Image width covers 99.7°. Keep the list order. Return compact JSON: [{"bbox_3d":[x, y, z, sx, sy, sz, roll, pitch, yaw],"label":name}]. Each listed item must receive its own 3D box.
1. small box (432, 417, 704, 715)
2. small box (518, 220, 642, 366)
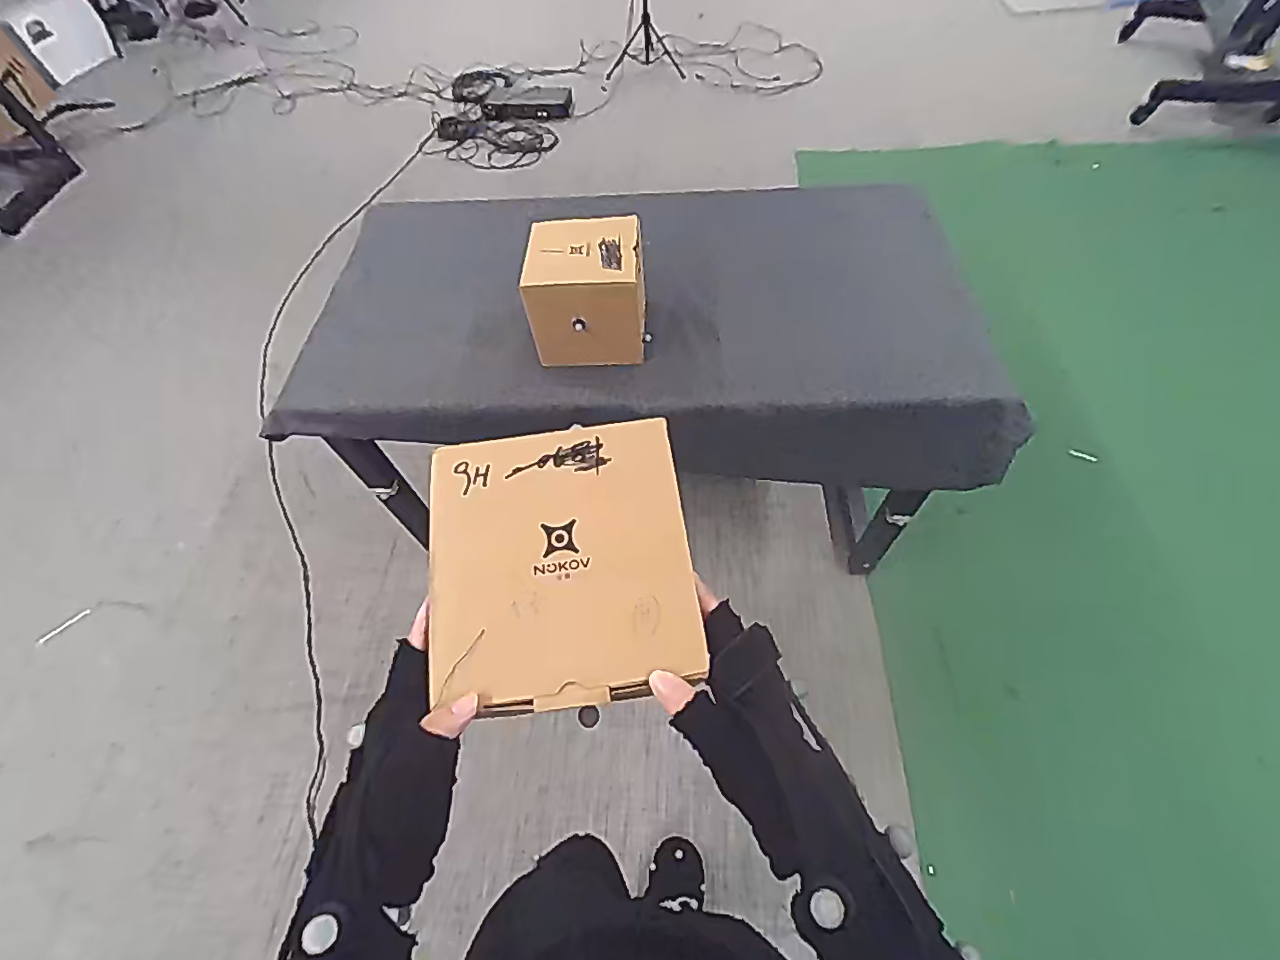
[{"bbox_3d":[-0.050,0.075,0.421,0.168,0.176,0.179,-8,68,-3],"label":"small box"},{"bbox_3d":[-0.087,-0.305,0.898,0.179,0.176,0.168,-1,57,4],"label":"small box"}]
